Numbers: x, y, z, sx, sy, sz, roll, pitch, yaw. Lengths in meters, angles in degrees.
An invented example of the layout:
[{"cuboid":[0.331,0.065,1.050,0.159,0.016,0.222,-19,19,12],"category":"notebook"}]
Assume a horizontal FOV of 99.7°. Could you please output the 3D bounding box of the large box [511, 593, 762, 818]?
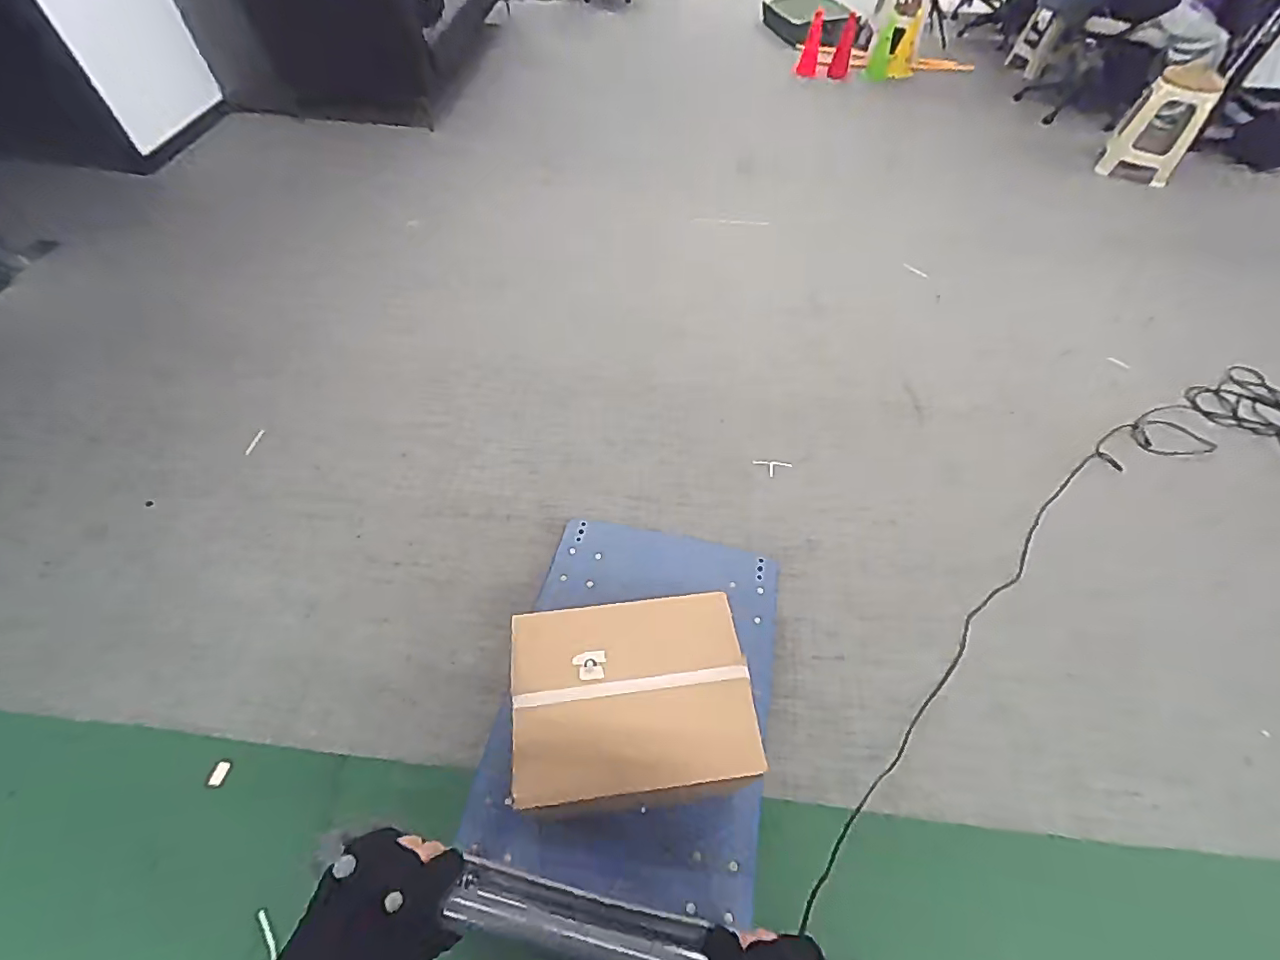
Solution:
[{"cuboid":[-0.020,0.442,1.047,0.408,0.320,0.320,-5,55,-5],"category":"large box"}]
